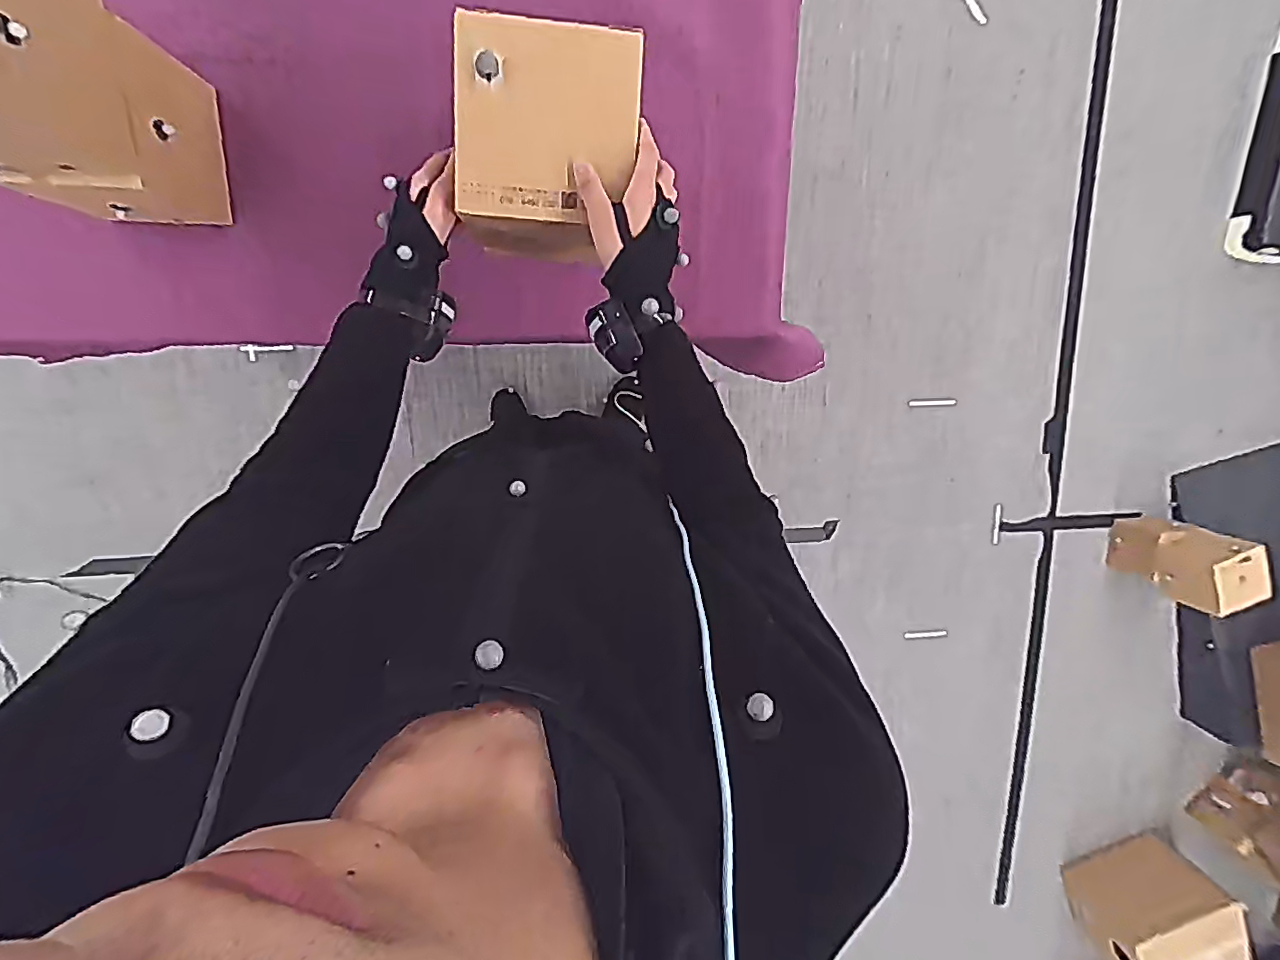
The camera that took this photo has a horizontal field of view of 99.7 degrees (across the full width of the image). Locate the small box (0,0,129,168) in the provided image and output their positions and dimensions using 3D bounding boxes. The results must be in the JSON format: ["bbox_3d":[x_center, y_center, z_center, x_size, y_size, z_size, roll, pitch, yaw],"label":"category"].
[{"bbox_3d":[-0.633,-0.406,0.497,0.168,0.176,0.179,-4,102,-6],"label":"small box"}]

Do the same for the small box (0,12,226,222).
[{"bbox_3d":[-0.647,-0.429,0.660,0.168,0.176,0.179,0,102,-7],"label":"small box"}]

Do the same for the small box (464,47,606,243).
[{"bbox_3d":[-0.130,-0.426,0.720,0.168,0.176,0.179,0,101,-6],"label":"small box"}]
